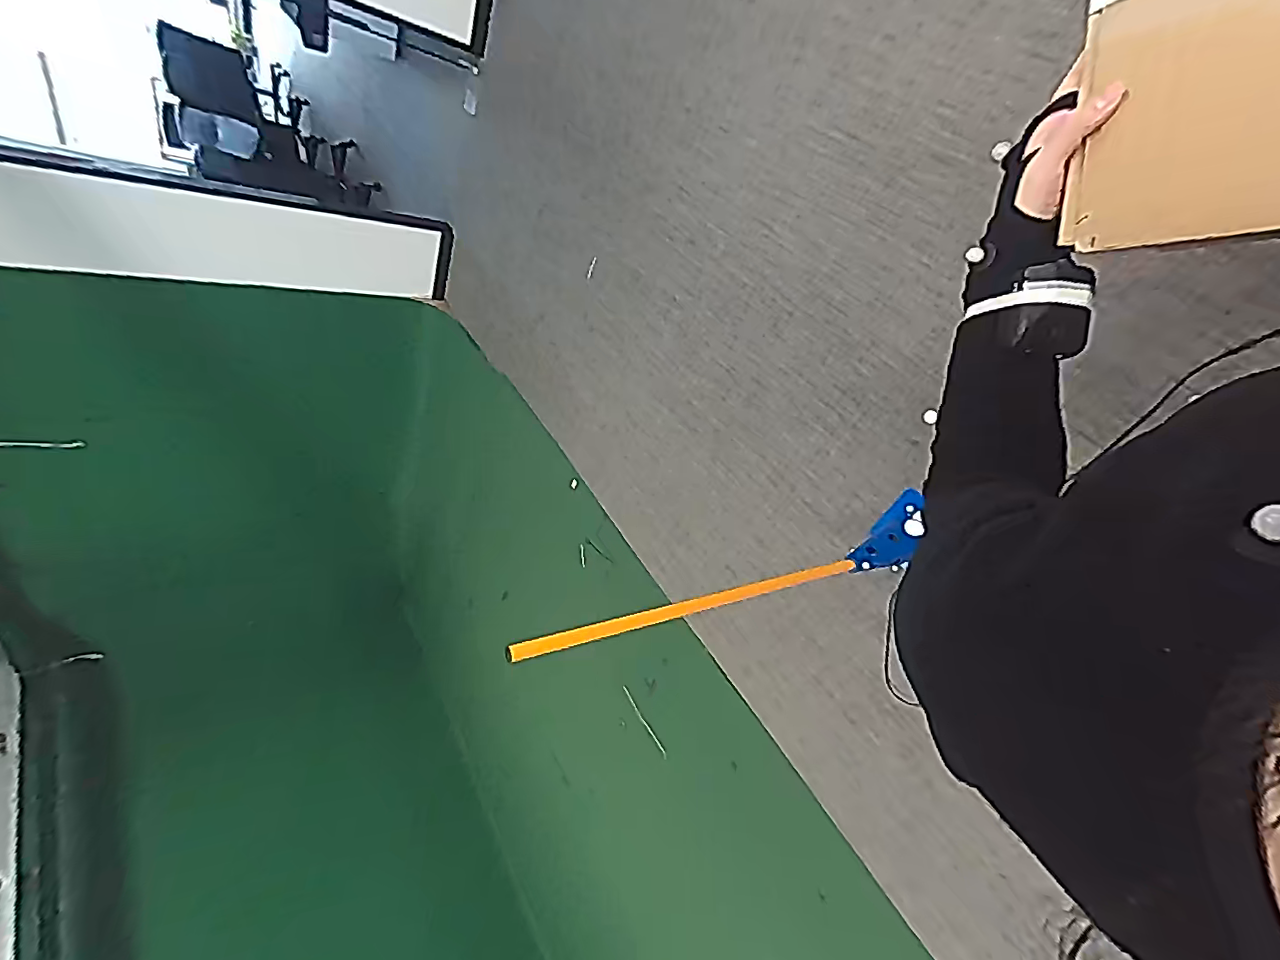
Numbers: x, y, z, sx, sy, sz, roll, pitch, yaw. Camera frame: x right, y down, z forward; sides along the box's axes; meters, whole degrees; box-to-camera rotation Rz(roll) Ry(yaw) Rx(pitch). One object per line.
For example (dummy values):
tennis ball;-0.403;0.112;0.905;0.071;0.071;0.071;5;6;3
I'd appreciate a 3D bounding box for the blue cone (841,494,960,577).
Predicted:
blue cone;0.625;0.174;1.387;0.193;0.380;0.192;50;131;32
